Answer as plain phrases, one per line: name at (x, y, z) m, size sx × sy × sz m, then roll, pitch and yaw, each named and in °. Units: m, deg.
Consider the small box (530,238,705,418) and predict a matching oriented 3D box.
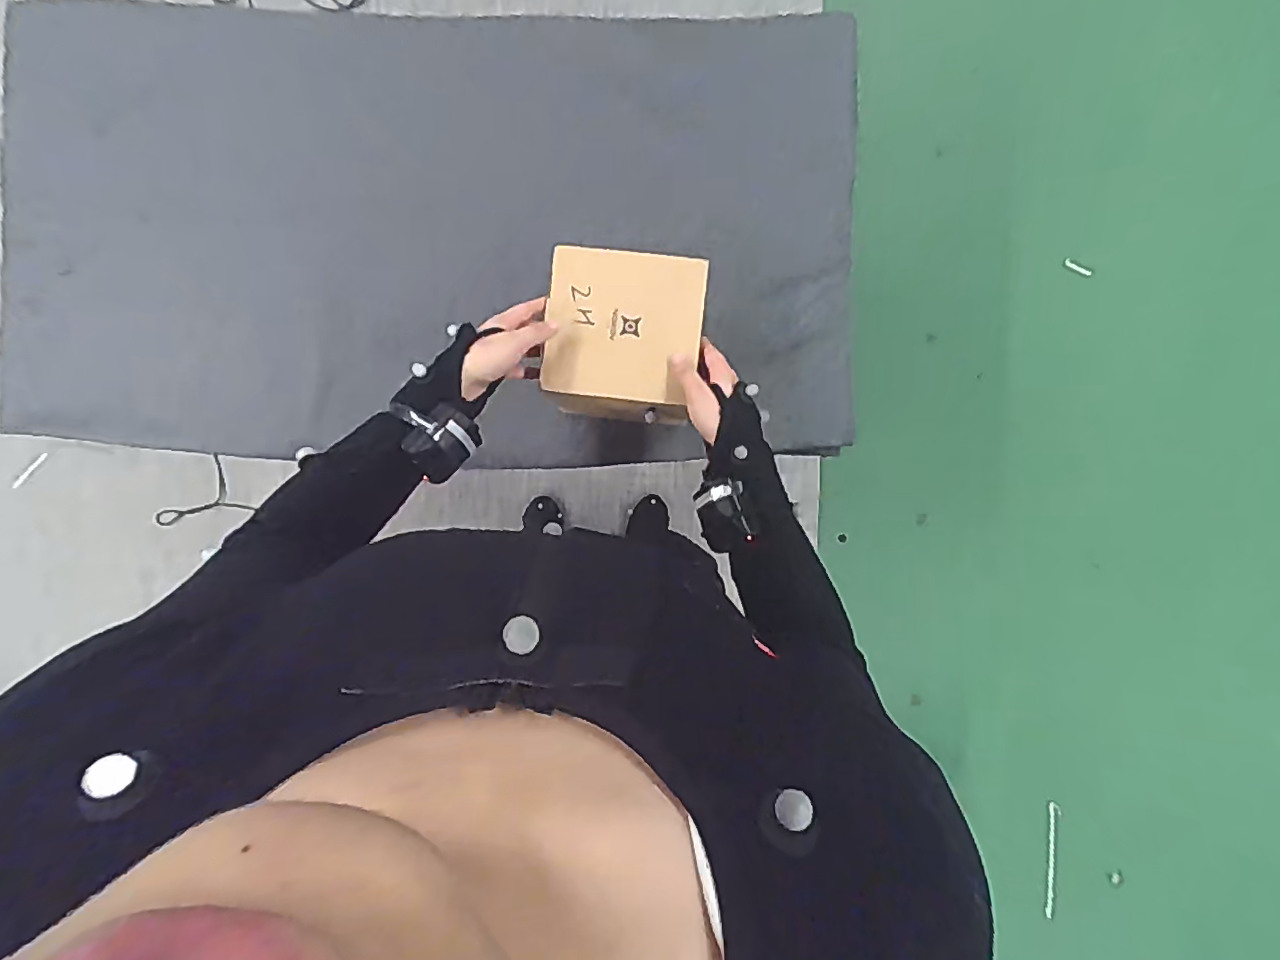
small box at (-0.023, -0.172, 0.666) m, size 0.179 × 0.176 × 0.168 m, roll 6°, pitch 89°, yaw 2°
